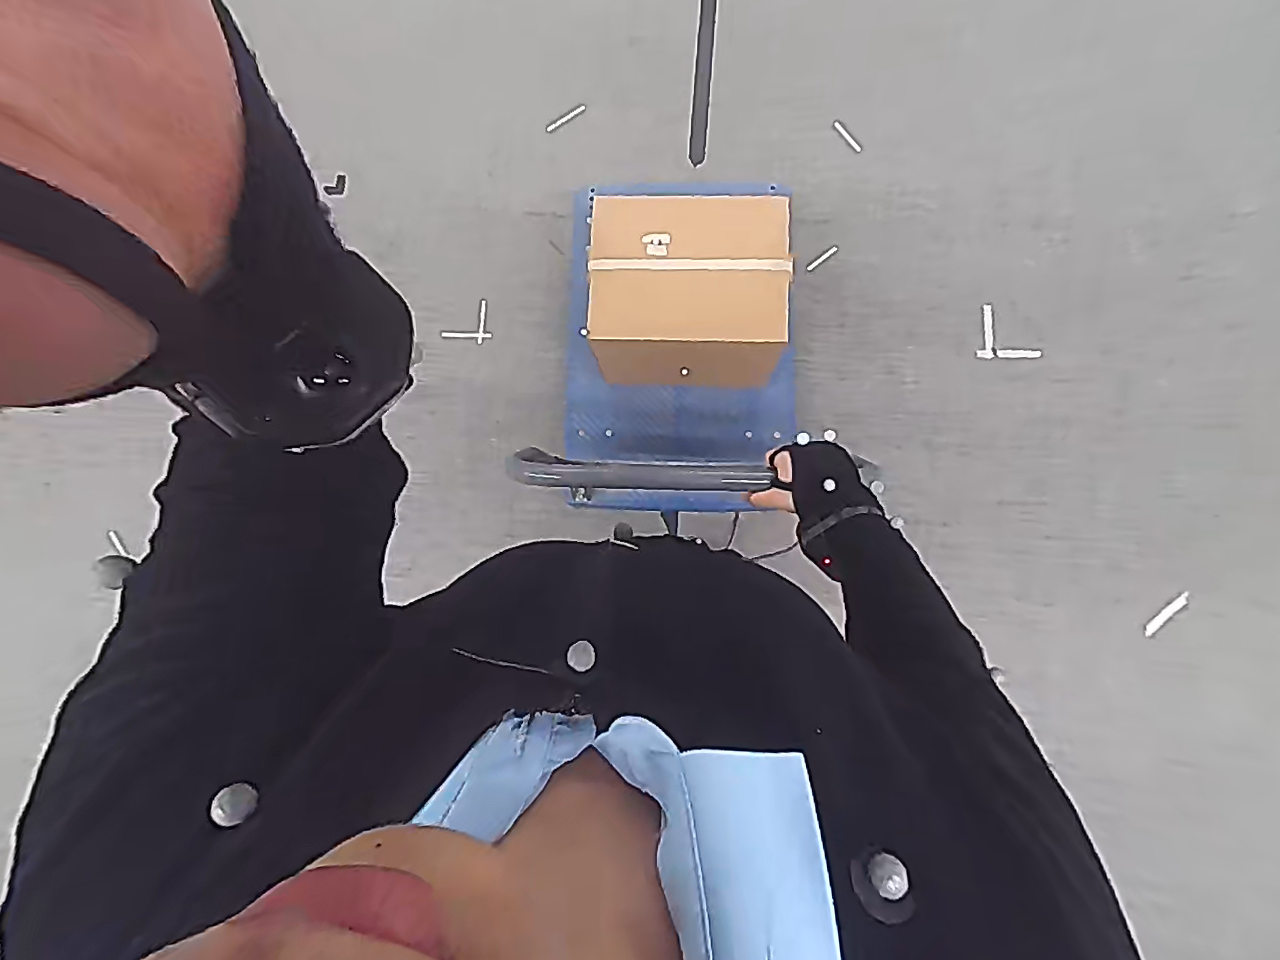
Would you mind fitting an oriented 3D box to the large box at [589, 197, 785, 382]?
[{"bbox_3d":[0.108,-0.417,1.259,0.408,0.320,0.320,1,82,4],"label":"large box"}]
